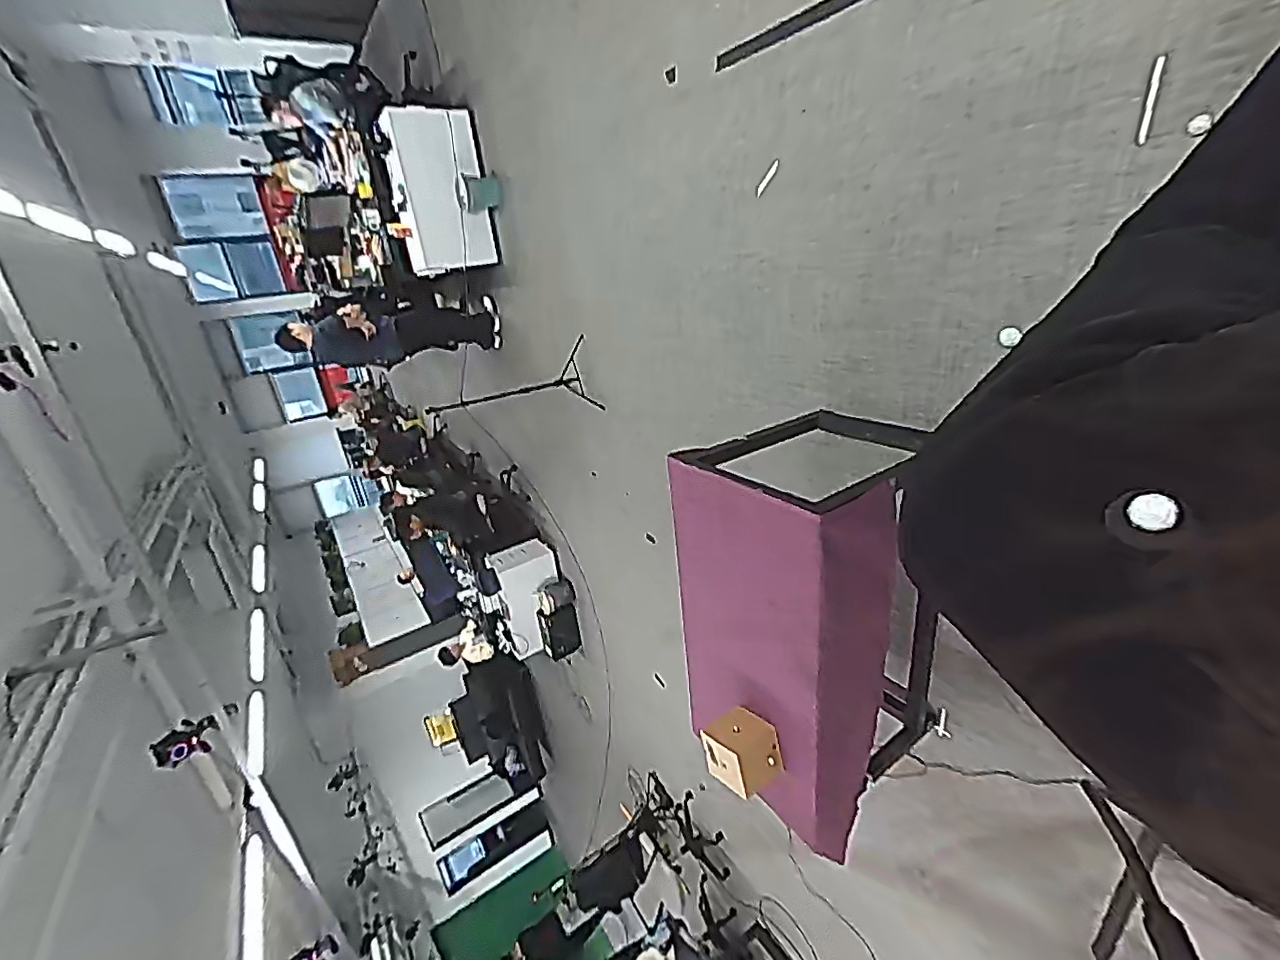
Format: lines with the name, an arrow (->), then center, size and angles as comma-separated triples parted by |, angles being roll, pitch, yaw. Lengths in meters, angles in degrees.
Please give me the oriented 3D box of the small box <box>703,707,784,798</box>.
small box -> 0.332, 0.862, 1.736 | 0.179, 0.176, 0.168 | 5, 112, 58
